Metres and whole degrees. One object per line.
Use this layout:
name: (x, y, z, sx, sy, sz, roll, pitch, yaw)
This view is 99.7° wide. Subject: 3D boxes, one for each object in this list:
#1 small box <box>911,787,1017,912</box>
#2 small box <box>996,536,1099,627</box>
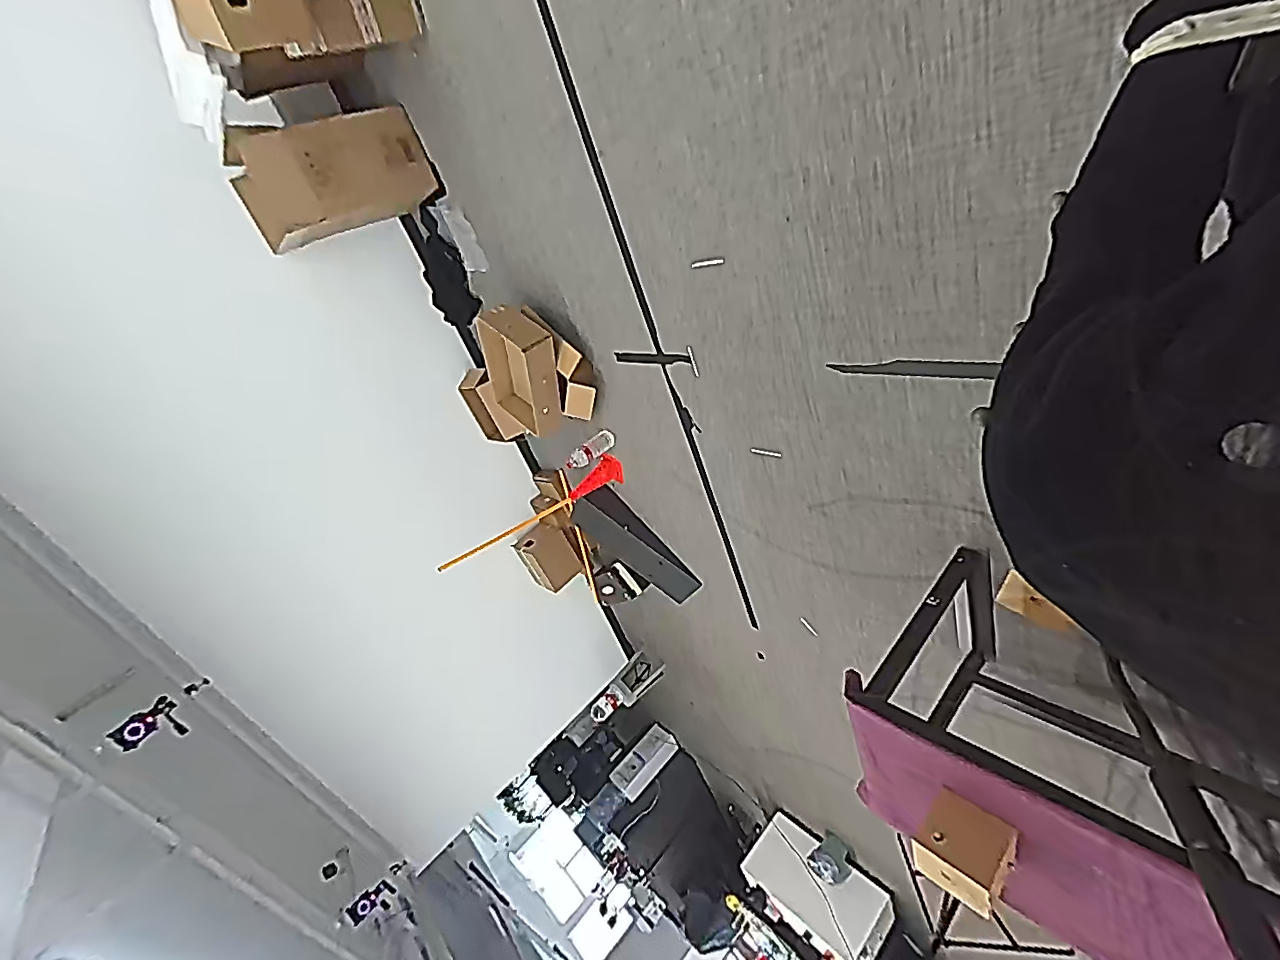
small box: (0.808, 0.908, 1.351, 0.179, 0.176, 0.168, 17, 138, 47)
small box: (1.203, 0.290, 1.598, 0.179, 0.176, 0.168, 29, 145, 34)
